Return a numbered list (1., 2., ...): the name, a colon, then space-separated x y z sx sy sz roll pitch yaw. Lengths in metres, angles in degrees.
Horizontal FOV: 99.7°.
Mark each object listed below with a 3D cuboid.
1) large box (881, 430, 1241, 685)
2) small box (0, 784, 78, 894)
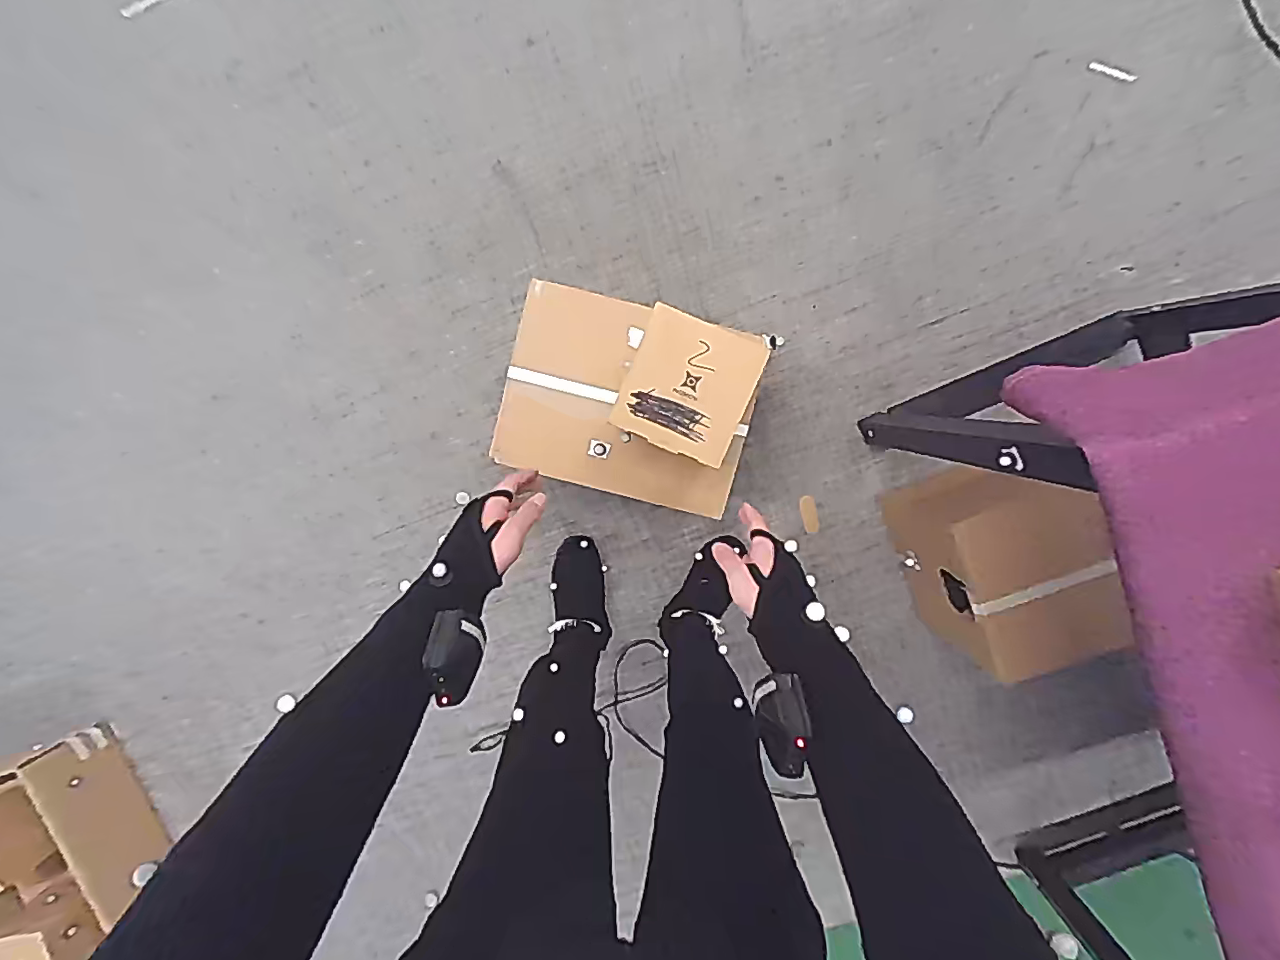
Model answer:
1. large box: 0.759 0.121 1.039 0.408 0.320 0.320 -22 97 4
2. small box: -1.493 0.844 1.254 0.168 0.176 0.179 -25 97 5
